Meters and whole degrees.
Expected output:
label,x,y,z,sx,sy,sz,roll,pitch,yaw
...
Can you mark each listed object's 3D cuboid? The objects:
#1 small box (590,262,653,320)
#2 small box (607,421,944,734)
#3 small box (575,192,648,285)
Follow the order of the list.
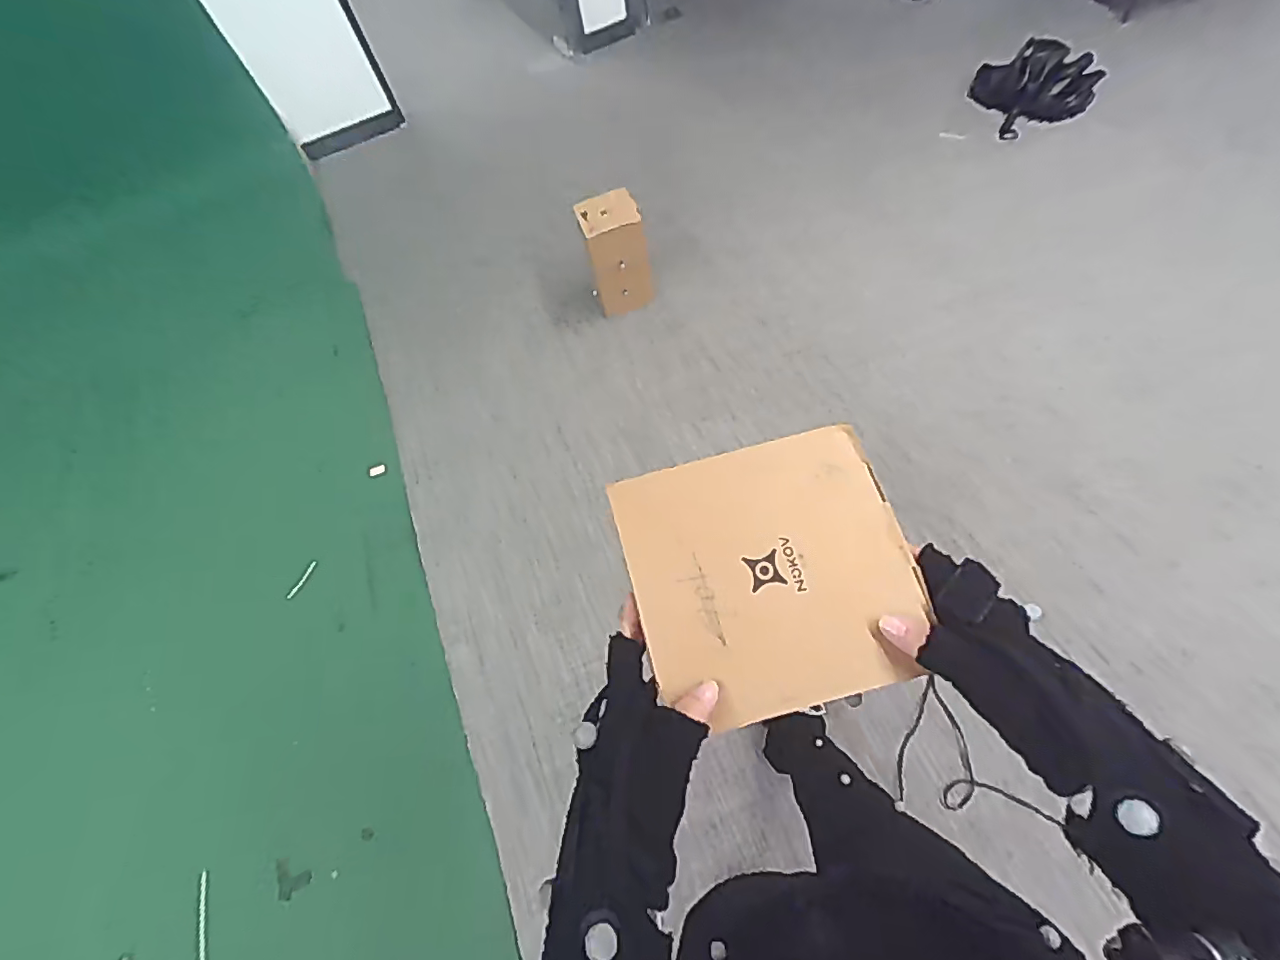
label,x,y,z,sx,sy,sz,roll,pitch,yaw
small box,-0.060,-0.675,1.823,0.179,0.176,0.168,-20,62,0
small box,0.084,0.080,0.421,0.179,0.176,0.168,-16,70,-2
small box,-0.082,-0.745,1.680,0.179,0.176,0.168,-22,64,-2
